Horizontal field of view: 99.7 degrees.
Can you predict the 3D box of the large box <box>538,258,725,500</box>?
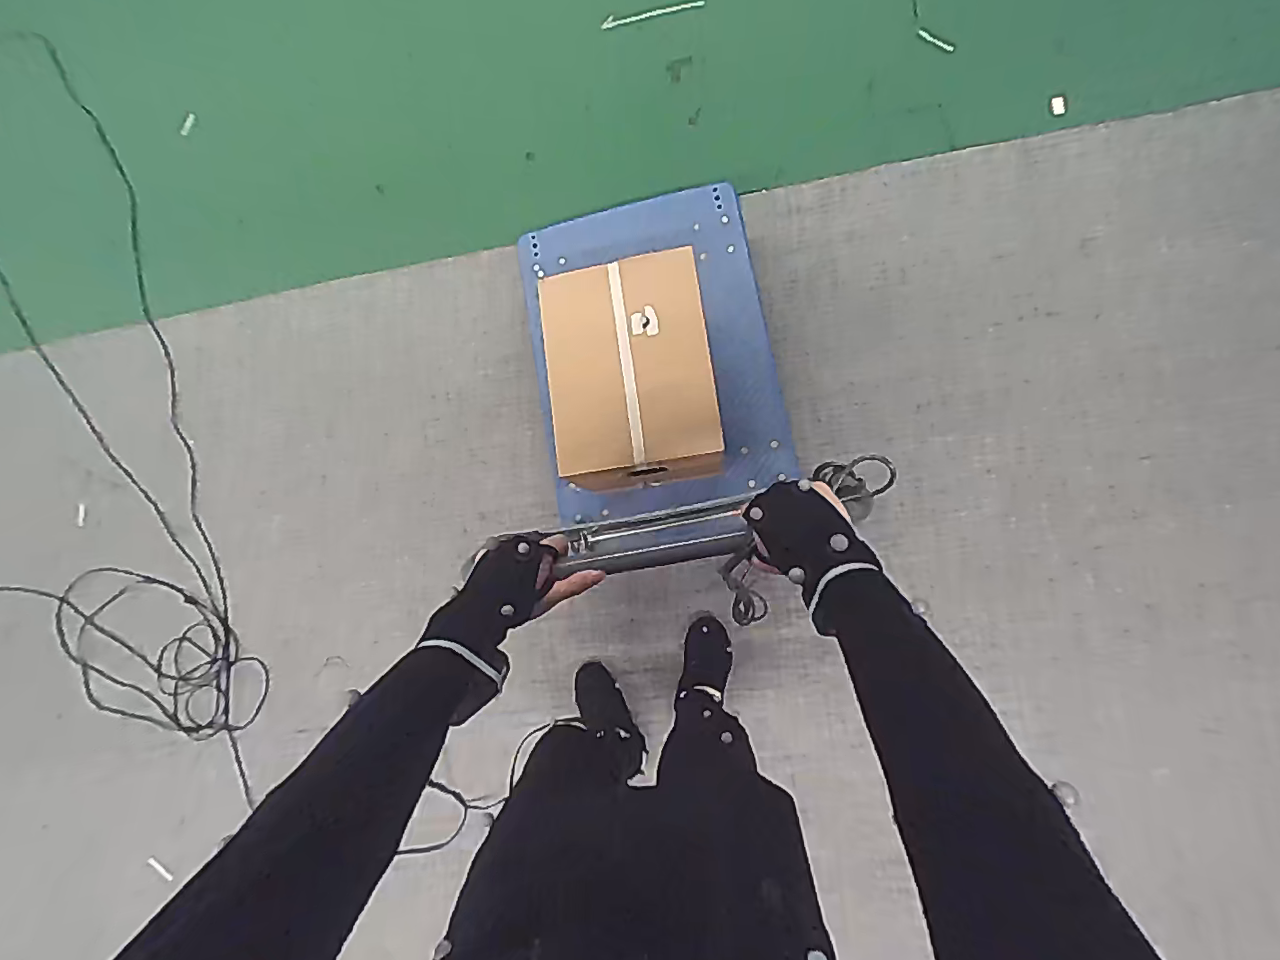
[{"bbox_3d":[-0.002,-0.188,1.169,0.320,0.320,0.408,-9,81,7],"label":"large box"}]
